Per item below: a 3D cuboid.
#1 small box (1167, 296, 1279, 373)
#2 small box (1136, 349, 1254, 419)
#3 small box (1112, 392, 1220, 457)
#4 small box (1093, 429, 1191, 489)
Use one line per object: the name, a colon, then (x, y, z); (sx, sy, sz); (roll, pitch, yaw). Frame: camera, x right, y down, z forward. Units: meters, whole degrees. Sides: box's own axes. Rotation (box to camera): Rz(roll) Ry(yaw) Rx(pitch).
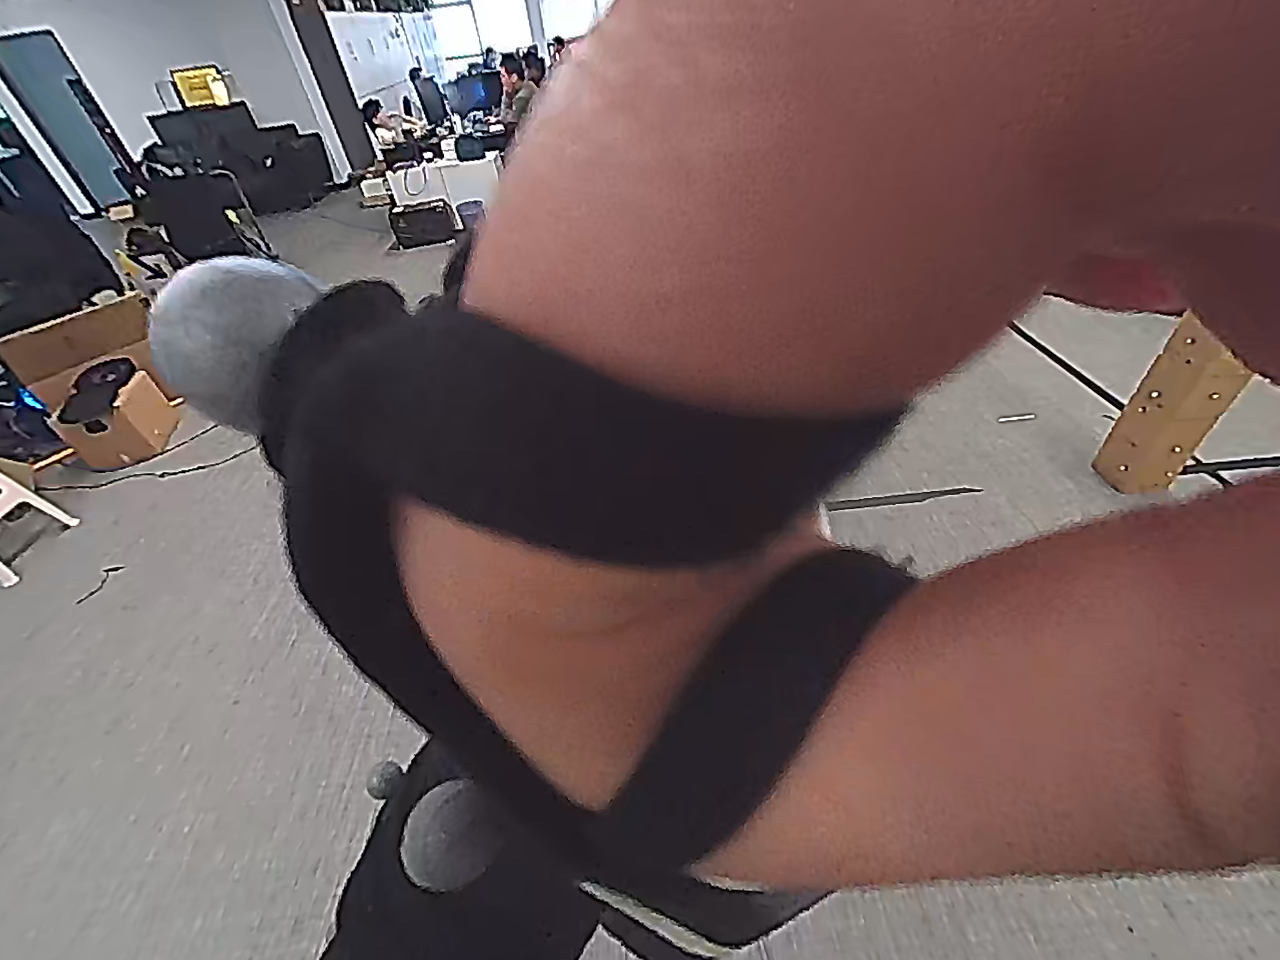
small box: (1.773, -0.440, 1.647); (0.179, 0.176, 0.168); (-5, 42, 4)
small box: (1.790, -0.320, 1.759); (0.179, 0.176, 0.168); (-8, 41, 1)
small box: (1.808, -0.201, 1.871); (0.179, 0.176, 0.168); (-7, 41, 0)
small box: (1.828, -0.080, 1.980); (0.168, 0.176, 0.179); (-7, 40, 1)
